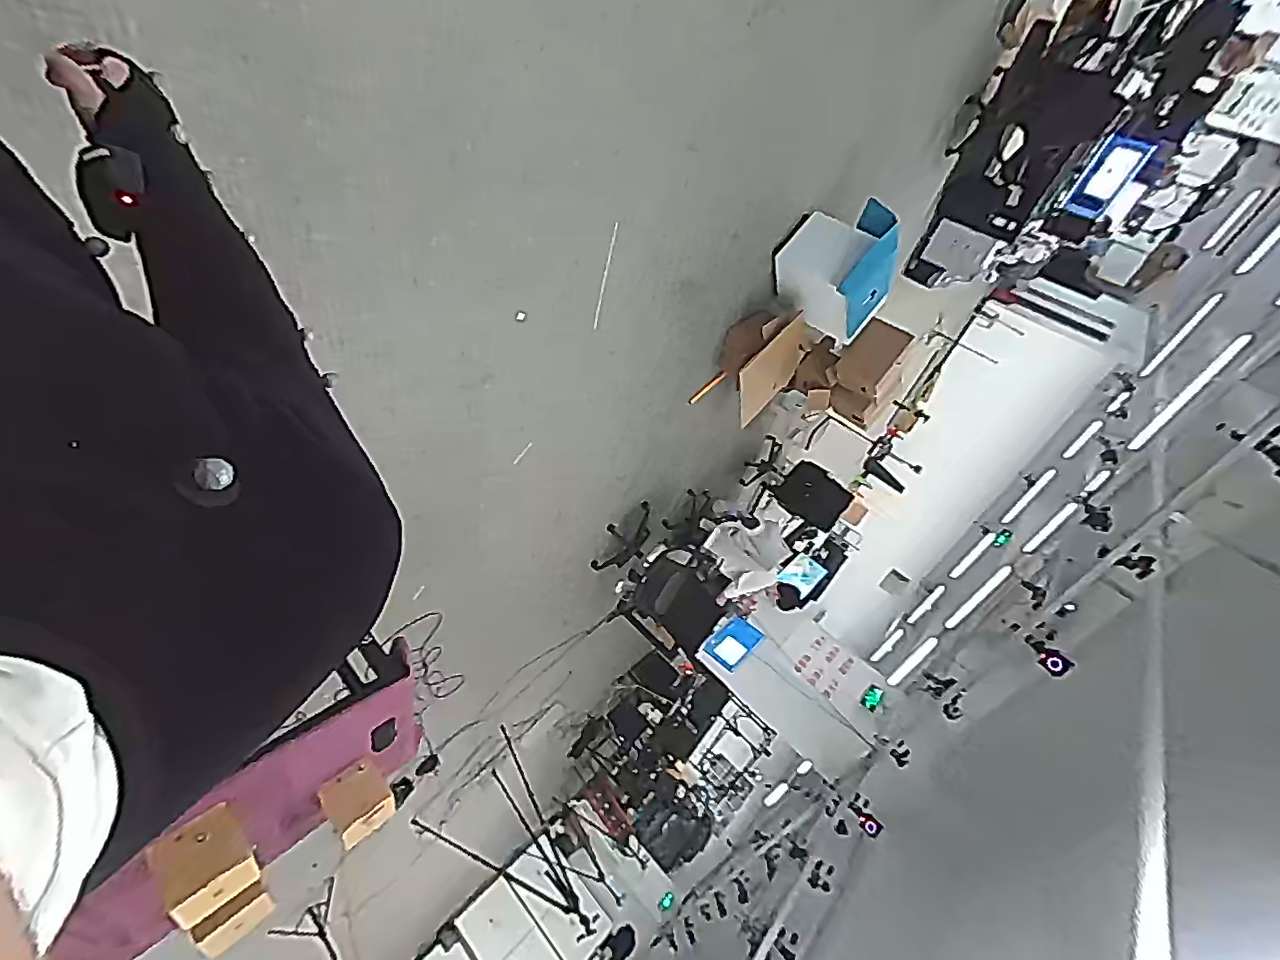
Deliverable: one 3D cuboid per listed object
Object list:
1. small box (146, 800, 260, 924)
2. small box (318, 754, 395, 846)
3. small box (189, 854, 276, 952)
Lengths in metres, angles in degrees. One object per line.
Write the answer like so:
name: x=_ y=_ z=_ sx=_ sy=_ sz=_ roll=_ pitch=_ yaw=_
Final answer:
small box: x=-1.085 y=0.945 z=1.349 sx=0.168 sy=0.176 sz=0.179 roll=-26 pitch=147 yaw=-43
small box: x=-0.920 y=1.032 z=1.758 sx=0.168 sy=0.176 sz=0.179 roll=-27 pitch=147 yaw=-41
small box: x=-1.170 y=1.175 z=1.533 sx=0.168 sy=0.176 sz=0.179 roll=-28 pitch=147 yaw=-42
